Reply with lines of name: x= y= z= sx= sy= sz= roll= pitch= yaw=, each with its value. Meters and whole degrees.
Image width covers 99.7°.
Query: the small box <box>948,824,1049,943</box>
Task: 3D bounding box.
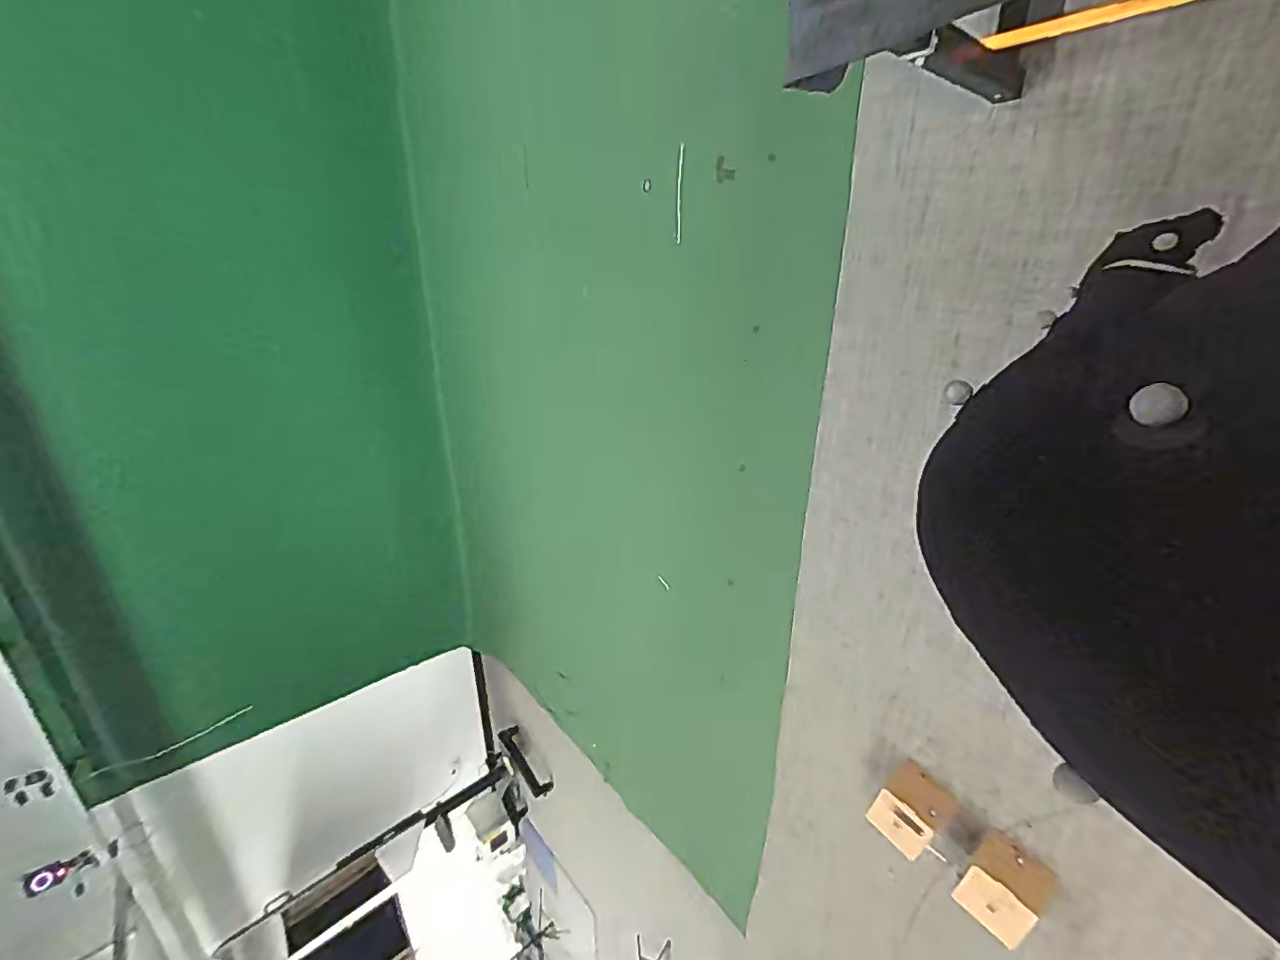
small box: x=1.010 y=1.126 z=1.521 sx=0.168 sy=0.176 sz=0.179 roll=32 pitch=126 yaw=39
